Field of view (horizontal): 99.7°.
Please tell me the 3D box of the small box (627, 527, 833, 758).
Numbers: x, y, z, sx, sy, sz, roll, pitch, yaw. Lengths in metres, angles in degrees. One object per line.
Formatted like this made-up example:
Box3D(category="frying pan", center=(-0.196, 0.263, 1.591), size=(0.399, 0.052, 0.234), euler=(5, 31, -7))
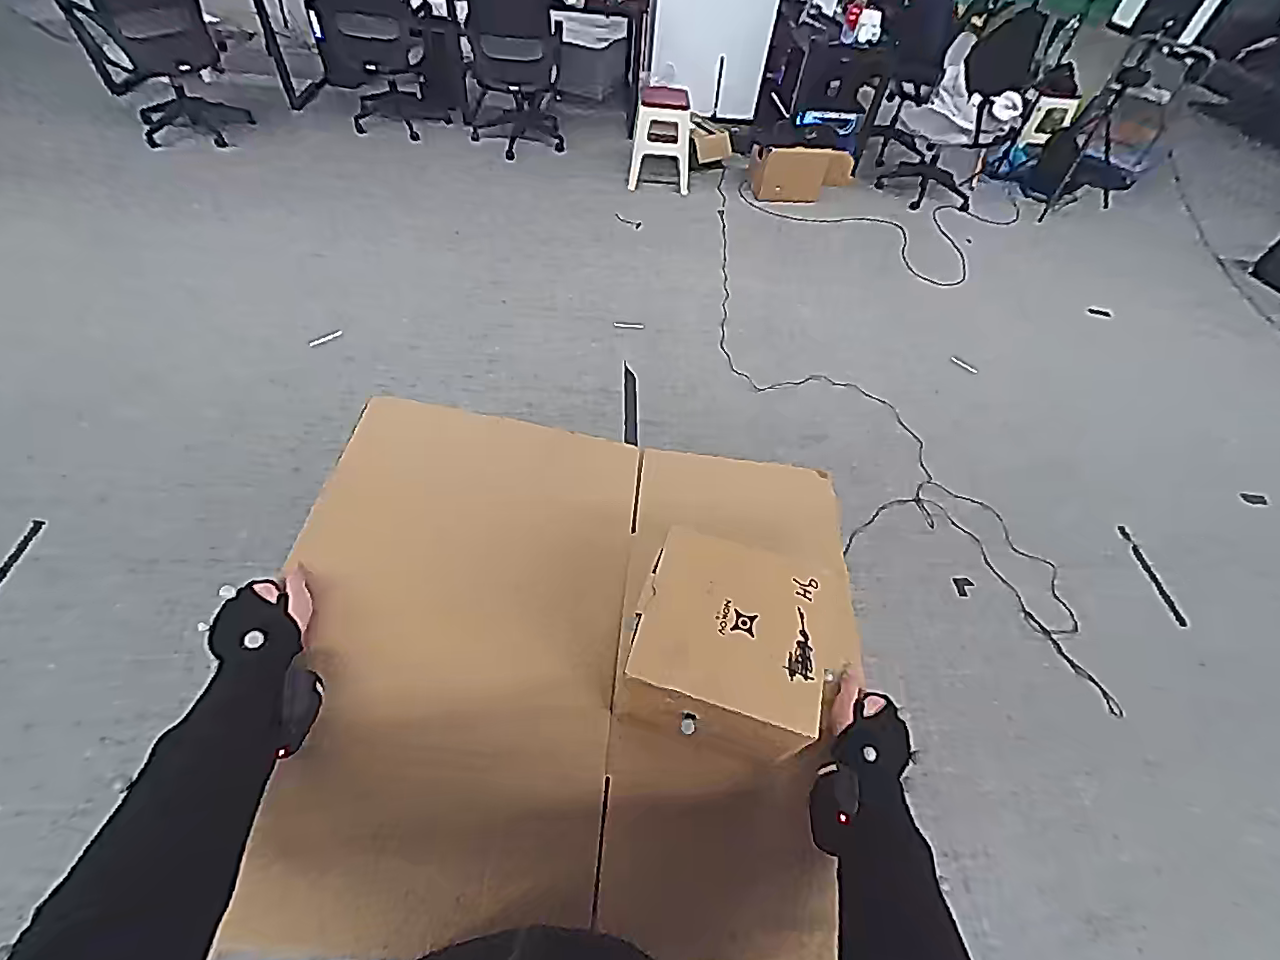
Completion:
Box3D(category="small box", center=(0.089, 0.181, 0.585), size=(0.179, 0.176, 0.168), euler=(15, 54, 8))
